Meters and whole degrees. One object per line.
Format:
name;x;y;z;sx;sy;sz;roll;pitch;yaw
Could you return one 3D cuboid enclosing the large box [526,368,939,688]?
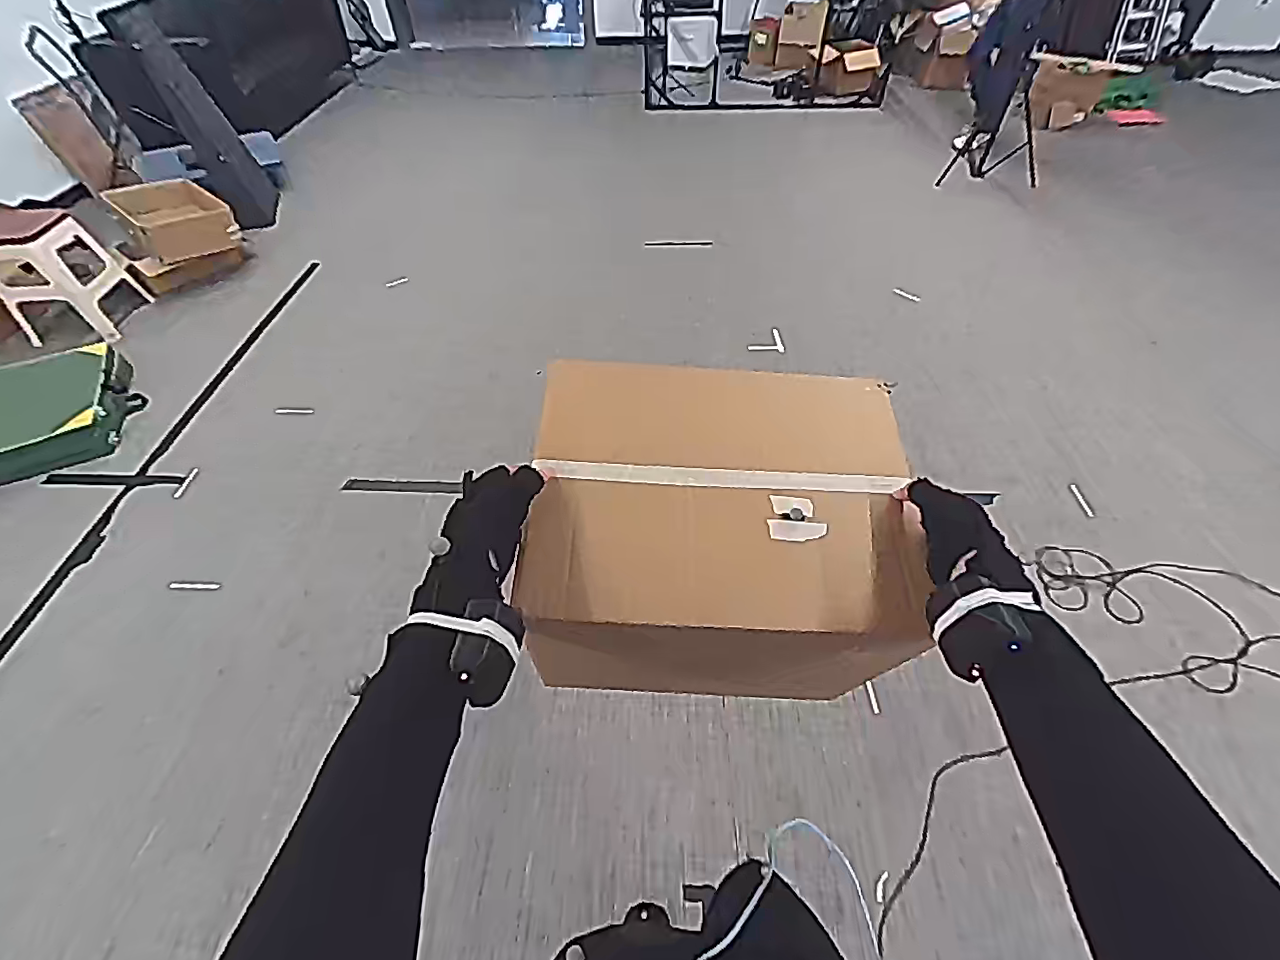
large box;0.084;0.079;0.711;0.408;0.320;0.320;3;59;-2
